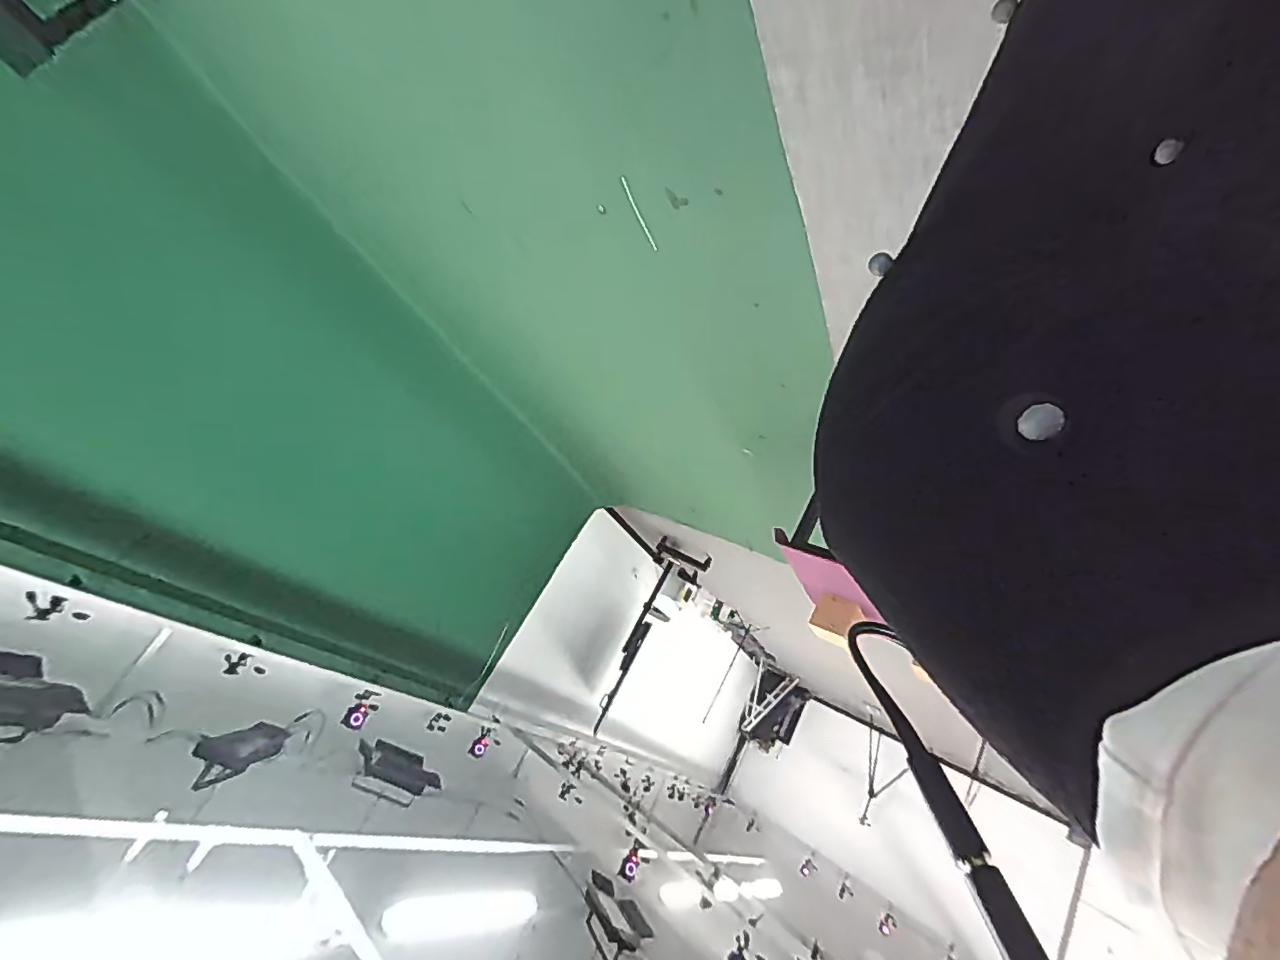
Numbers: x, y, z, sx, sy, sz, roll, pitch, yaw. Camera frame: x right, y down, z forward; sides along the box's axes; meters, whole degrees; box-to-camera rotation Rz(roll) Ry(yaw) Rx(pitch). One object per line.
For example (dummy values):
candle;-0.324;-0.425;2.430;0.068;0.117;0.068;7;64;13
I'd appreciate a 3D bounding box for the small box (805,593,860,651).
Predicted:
small box;0.866;0.632;2.417;0.168;0.176;0.179;15;156;39

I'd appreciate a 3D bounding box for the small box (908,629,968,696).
small box;1.185;0.721;2.144;0.168;0.176;0.179;14;154;41
